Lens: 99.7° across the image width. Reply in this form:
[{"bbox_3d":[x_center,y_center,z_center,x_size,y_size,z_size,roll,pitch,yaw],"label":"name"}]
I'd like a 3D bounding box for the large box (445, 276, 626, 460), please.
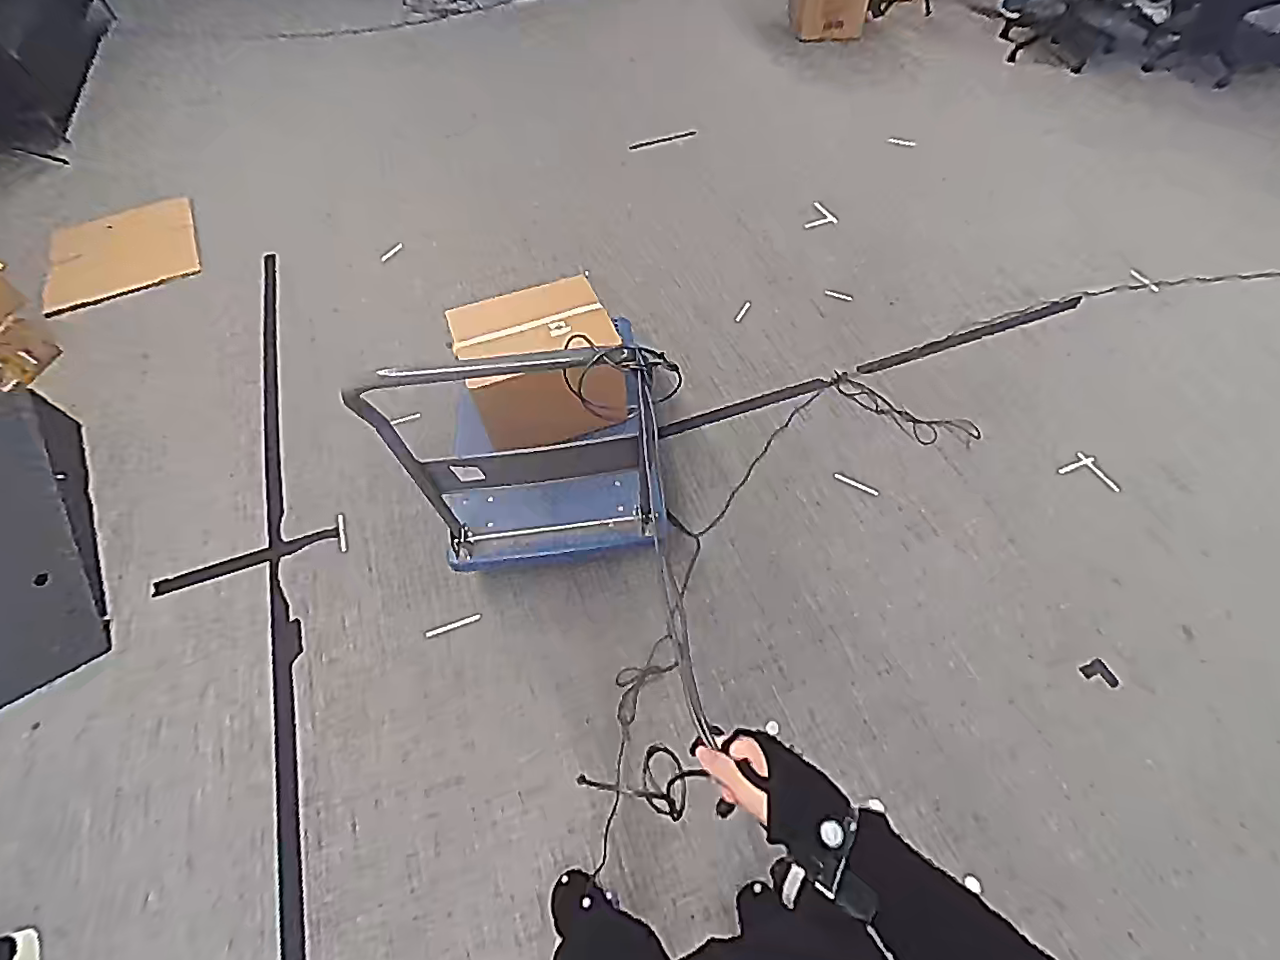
[{"bbox_3d":[-0.283,-0.313,1.537,0.408,0.320,0.320,-19,59,-11],"label":"large box"}]
